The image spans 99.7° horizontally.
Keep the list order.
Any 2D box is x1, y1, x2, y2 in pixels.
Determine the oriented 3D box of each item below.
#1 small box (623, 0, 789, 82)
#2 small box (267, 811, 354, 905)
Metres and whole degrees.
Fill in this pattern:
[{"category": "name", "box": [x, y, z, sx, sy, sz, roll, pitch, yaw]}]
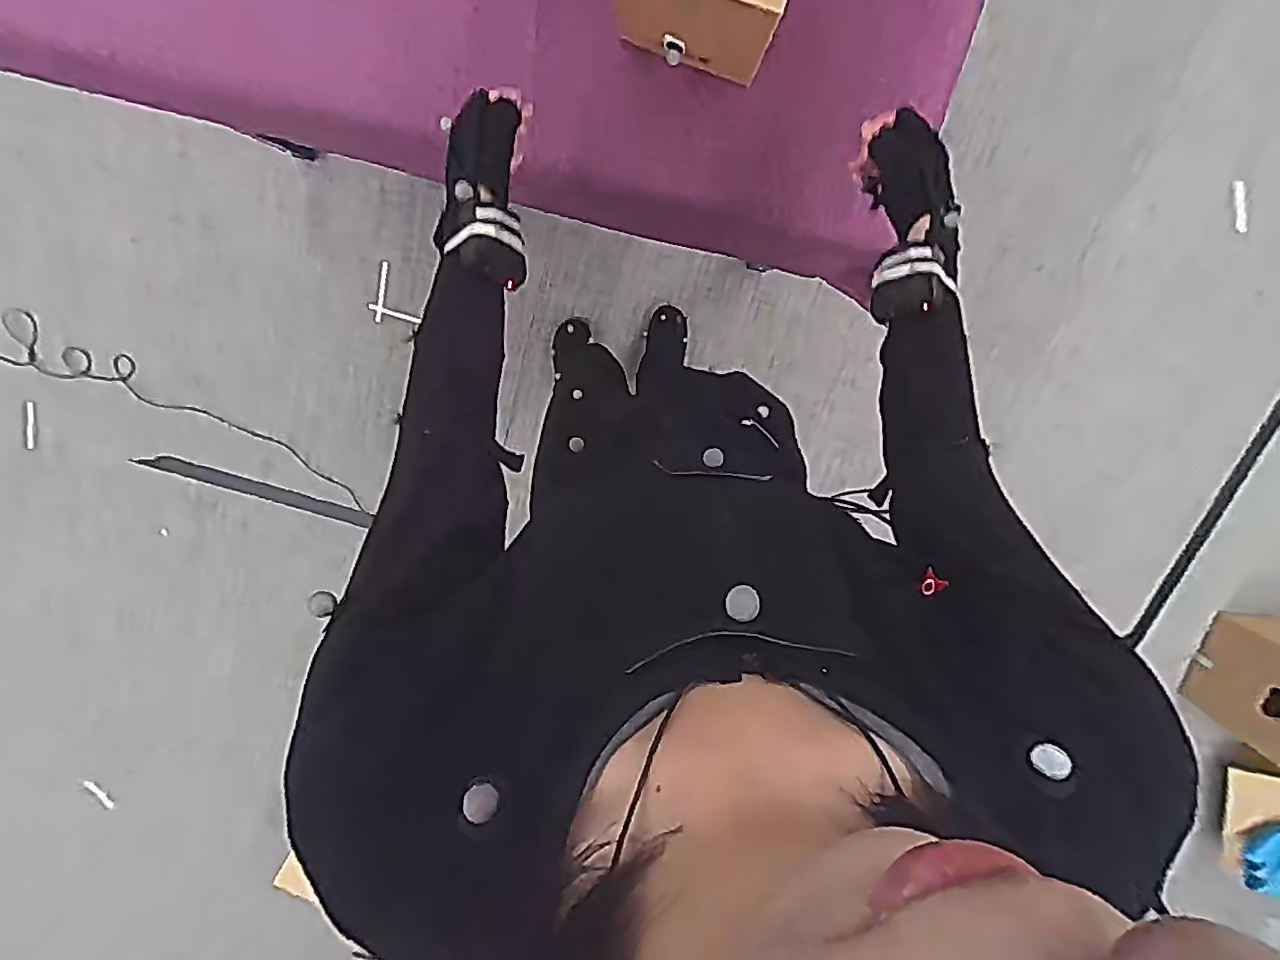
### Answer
[{"category": "small box", "box": [0.079, -0.545, 0.533, 0.168, 0.176, 0.179, 16, 107, -4]}, {"category": "small box", "box": [-1.117, 1.286, 1.846, 0.168, 0.176, 0.179, 31, 104, -9]}]
